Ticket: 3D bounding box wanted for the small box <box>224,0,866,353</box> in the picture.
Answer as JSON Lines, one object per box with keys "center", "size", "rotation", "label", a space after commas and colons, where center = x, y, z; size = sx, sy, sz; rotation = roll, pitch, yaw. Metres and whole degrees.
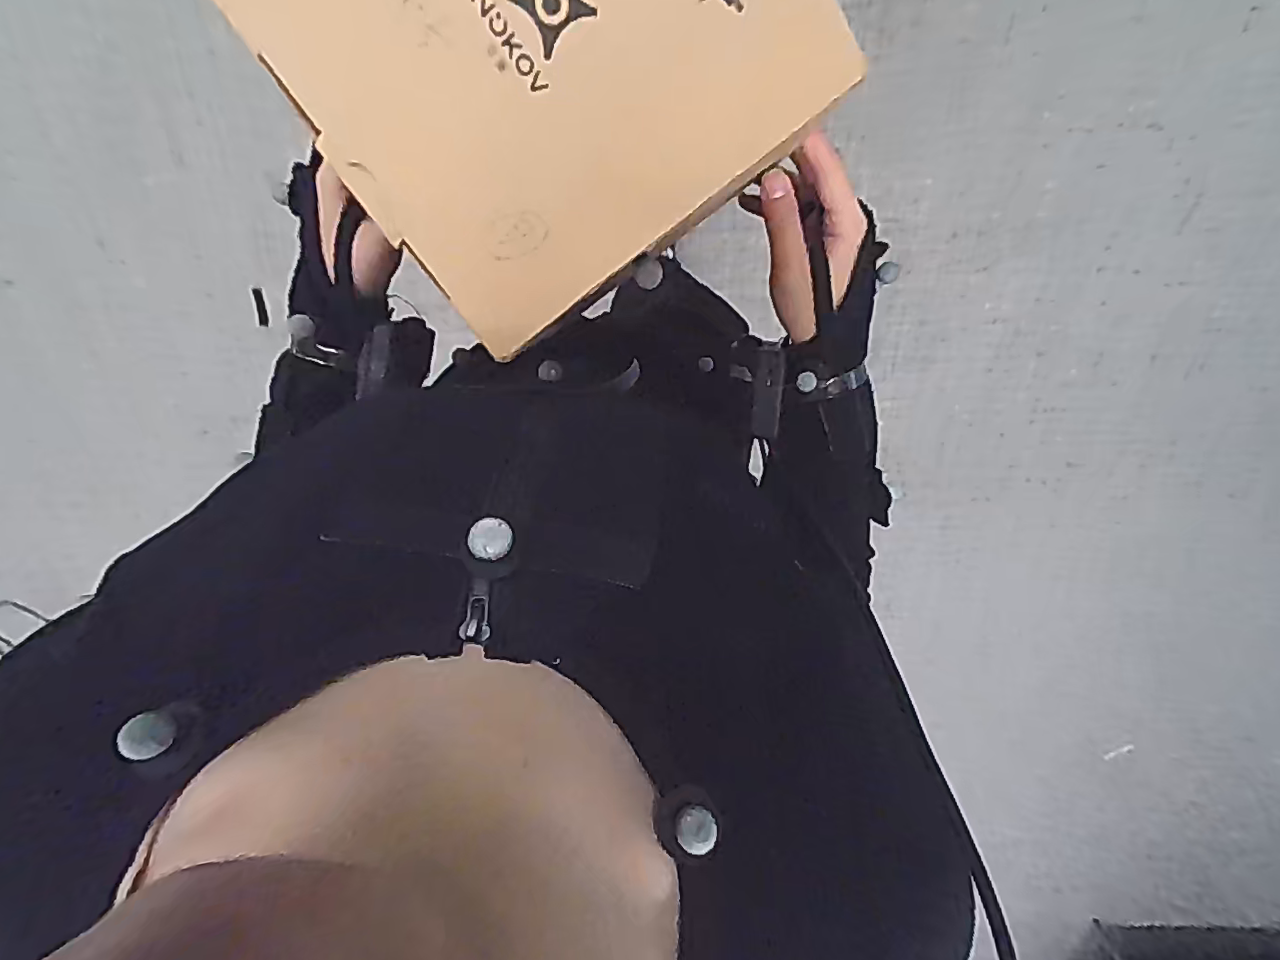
{"center": [-0.030, -0.186, 0.262], "size": [0.179, 0.176, 0.168], "rotation": [-33, 106, 15], "label": "small box"}
